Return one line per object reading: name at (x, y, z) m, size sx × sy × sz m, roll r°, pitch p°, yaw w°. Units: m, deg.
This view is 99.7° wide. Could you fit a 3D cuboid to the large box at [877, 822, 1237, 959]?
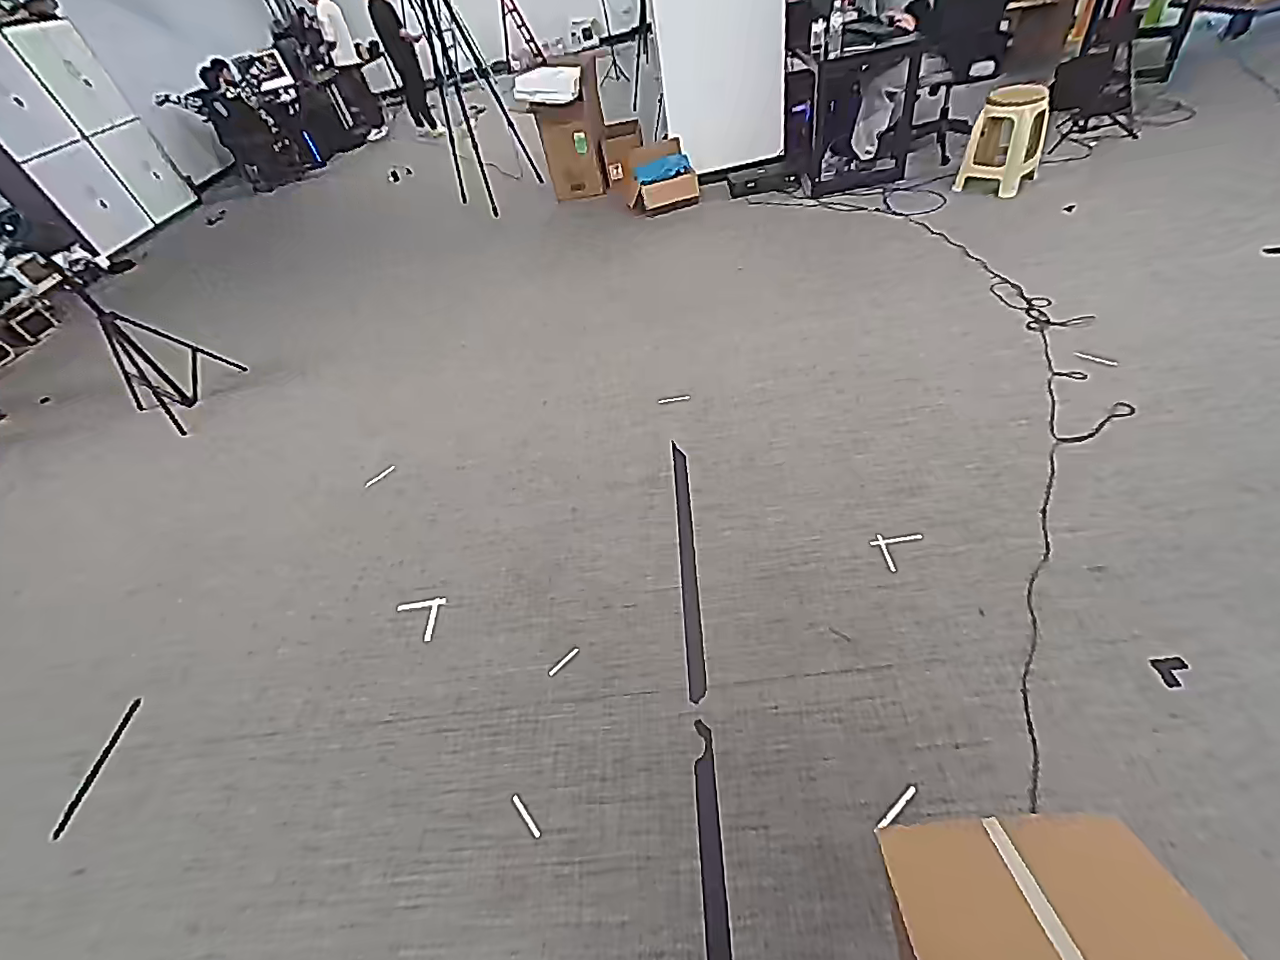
large box at (0.492, 0.664, 0.584) m, size 0.320 × 0.320 × 0.408 m, roll -13°, pitch 6°, yaw 11°
